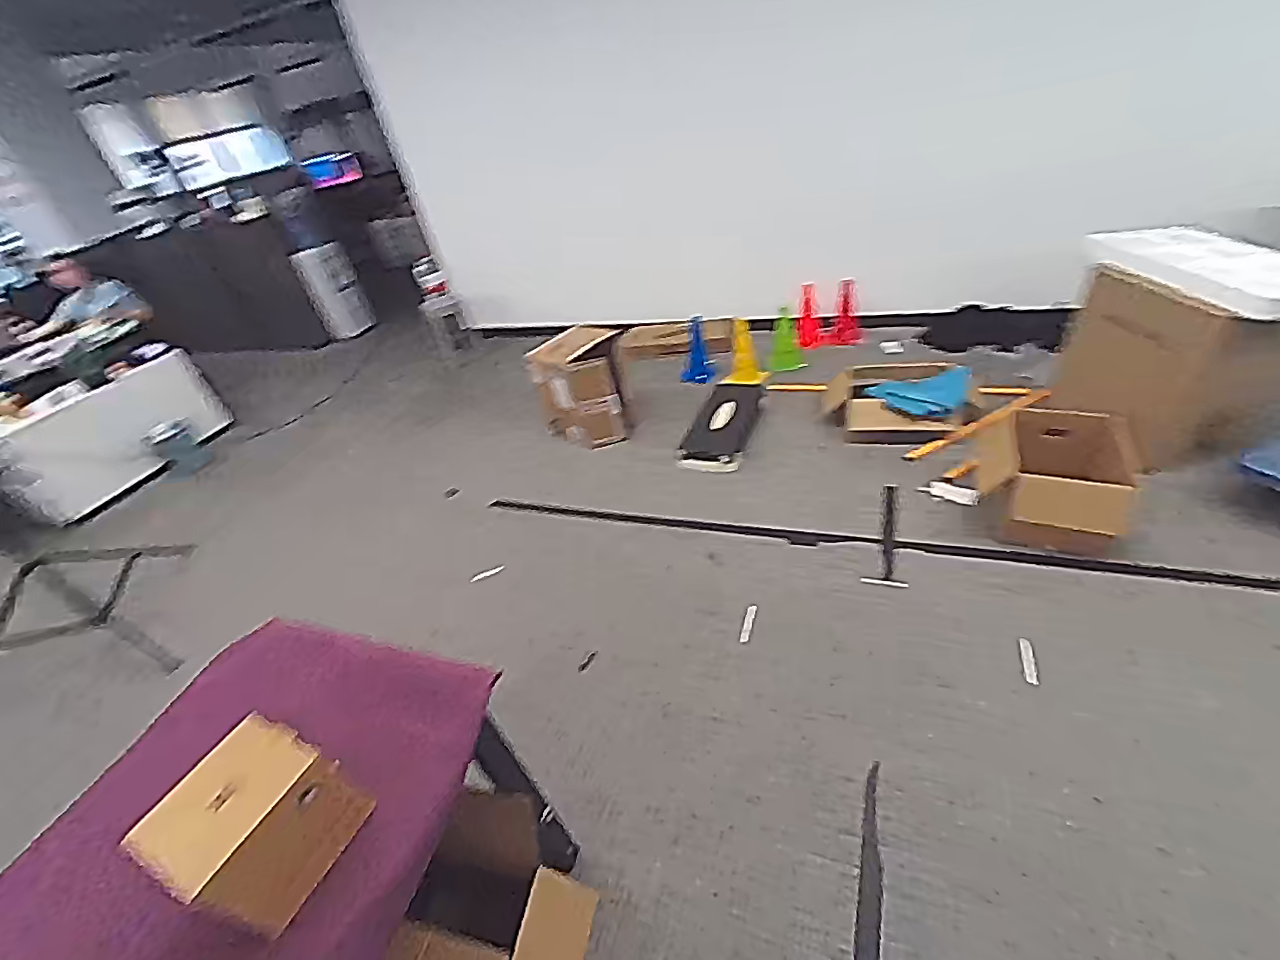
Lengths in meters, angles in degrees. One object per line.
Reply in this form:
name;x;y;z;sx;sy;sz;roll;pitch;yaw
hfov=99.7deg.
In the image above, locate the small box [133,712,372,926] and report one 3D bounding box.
small box;-0.517;0.465;0.747;0.168;0.176;0.179;9;41;26
